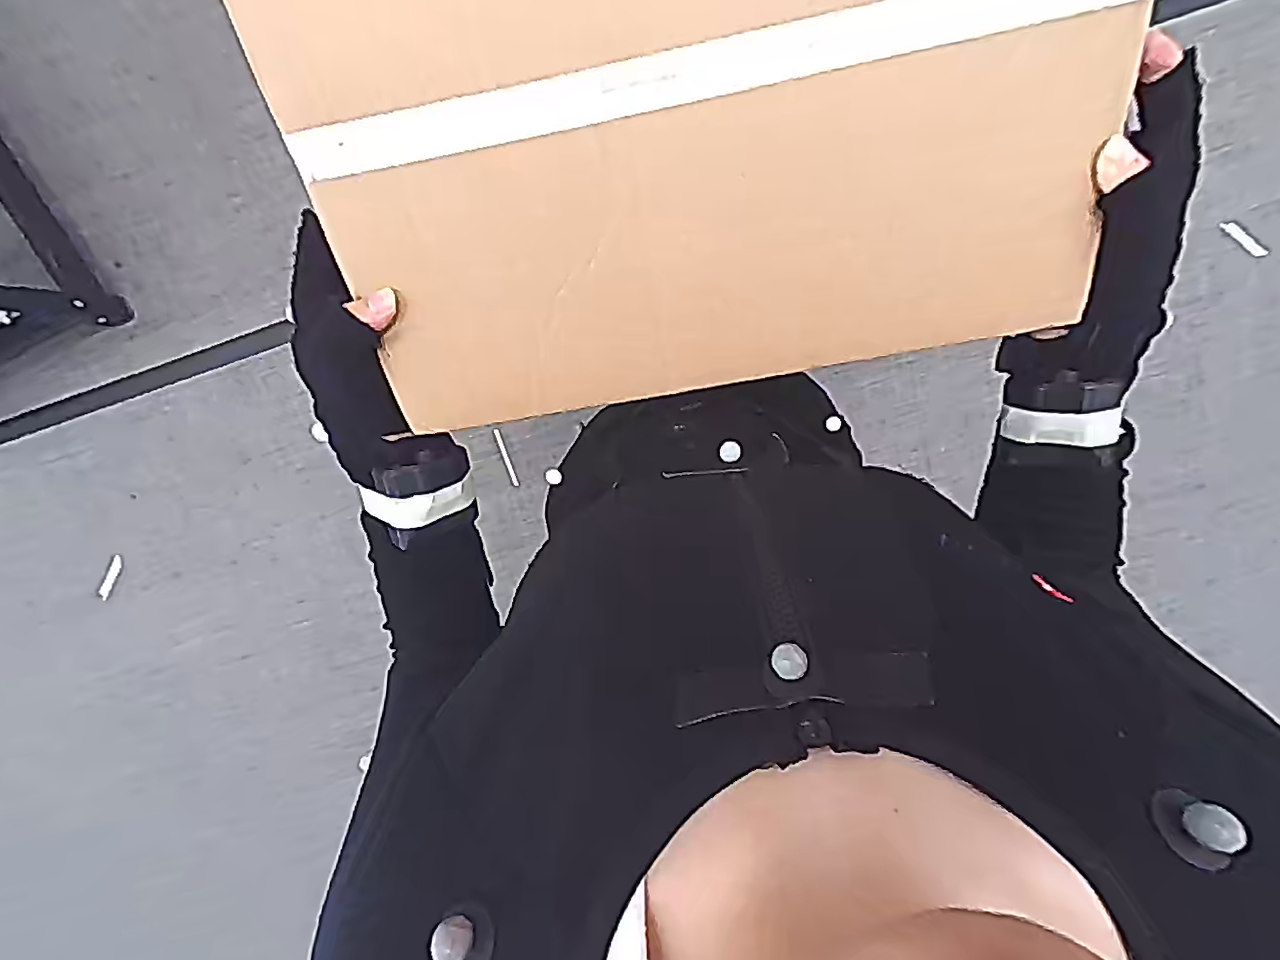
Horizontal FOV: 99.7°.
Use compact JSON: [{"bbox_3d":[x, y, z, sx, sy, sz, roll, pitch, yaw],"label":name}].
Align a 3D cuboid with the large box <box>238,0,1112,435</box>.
[{"bbox_3d":[0.024,-0.268,0.392,0.408,0.320,0.320,-9,119,5],"label":"large box"}]
